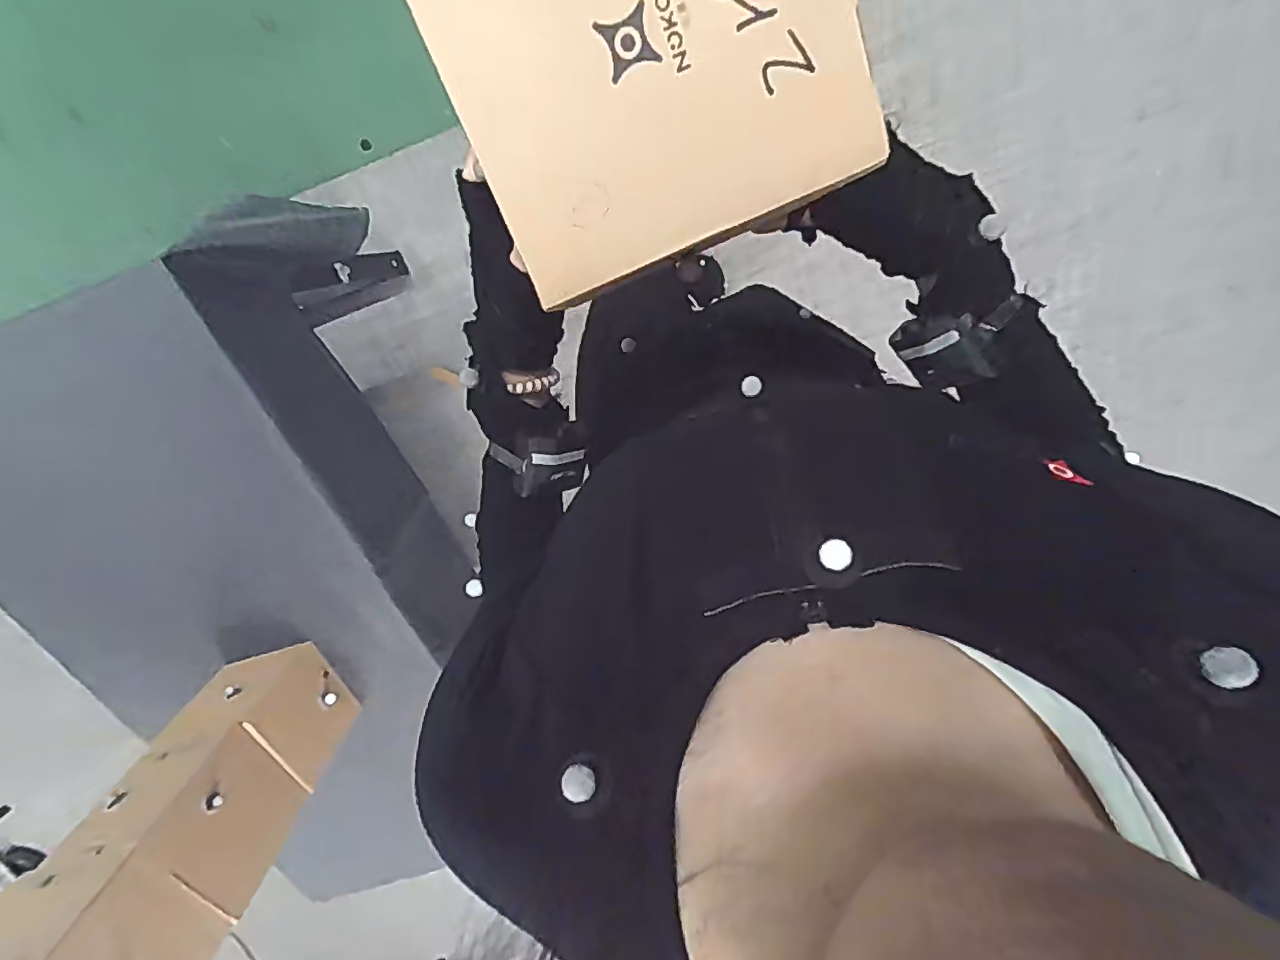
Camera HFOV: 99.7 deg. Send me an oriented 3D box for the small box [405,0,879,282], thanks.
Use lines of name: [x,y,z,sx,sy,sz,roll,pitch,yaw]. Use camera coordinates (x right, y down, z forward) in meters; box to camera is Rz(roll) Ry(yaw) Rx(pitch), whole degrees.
small box: [-0.003,-0.221,0.300,0.179,0.176,0.168,-21,108,5]

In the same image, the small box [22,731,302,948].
small box: [-0.603,0.459,0.711,0.168,0.176,0.179,-19,113,10]

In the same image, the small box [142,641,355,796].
small box: [-0.600,0.387,0.857,0.179,0.176,0.168,-17,114,7]
